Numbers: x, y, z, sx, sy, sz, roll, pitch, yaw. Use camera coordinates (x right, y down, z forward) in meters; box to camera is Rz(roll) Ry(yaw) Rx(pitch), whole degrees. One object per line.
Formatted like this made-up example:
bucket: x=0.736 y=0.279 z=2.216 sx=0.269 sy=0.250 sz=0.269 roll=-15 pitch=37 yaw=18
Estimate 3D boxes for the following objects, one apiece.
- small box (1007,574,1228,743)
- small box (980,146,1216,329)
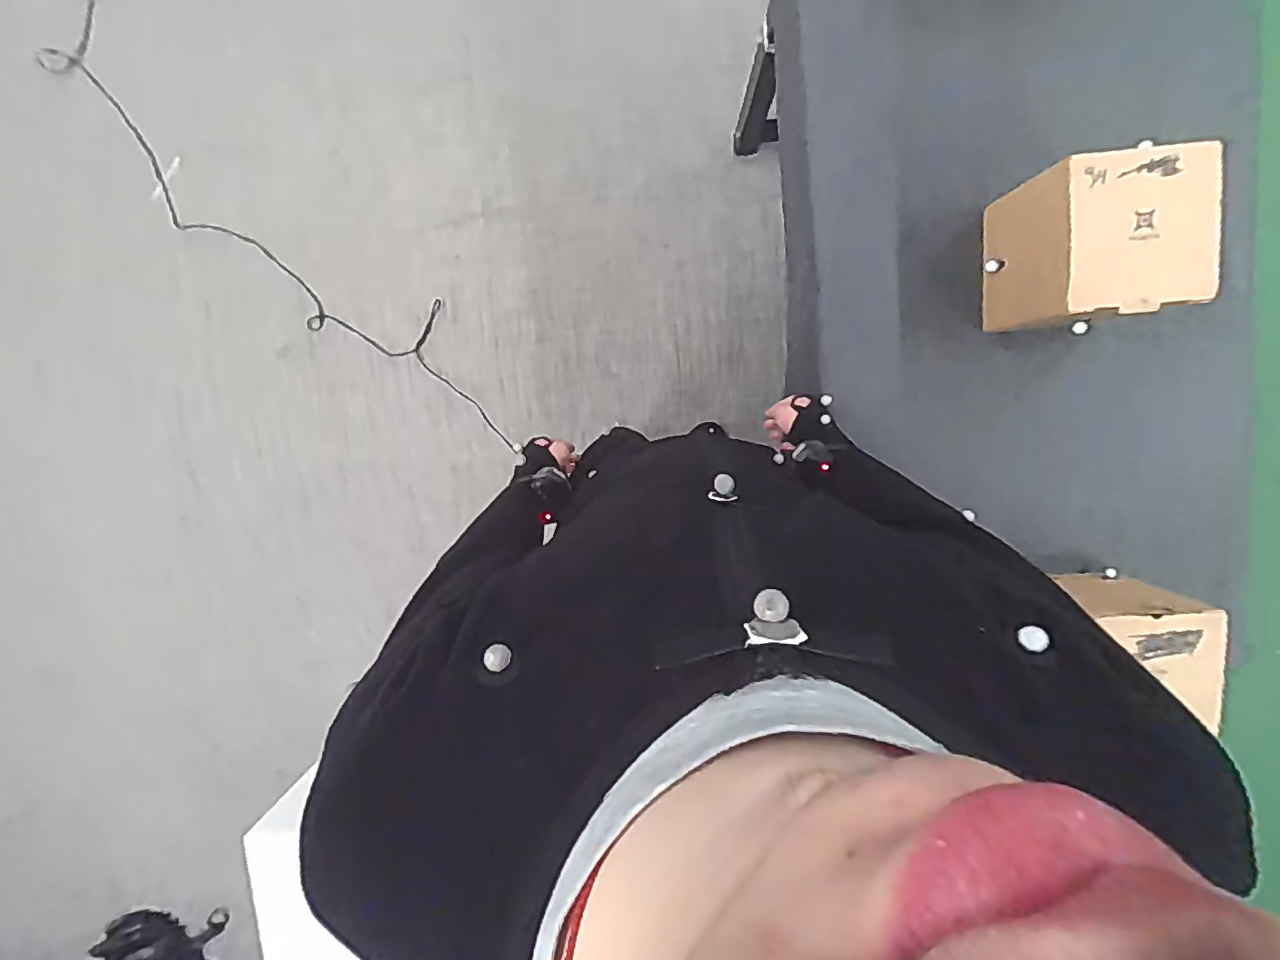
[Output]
small box: x=0.650 y=0.235 z=0.757 sx=0.168 sy=0.176 sz=0.179 roll=-3 pitch=97 yaw=0
small box: x=0.569 y=-0.295 z=0.697 sx=0.168 sy=0.176 sz=0.179 roll=-5 pitch=97 yaw=0
